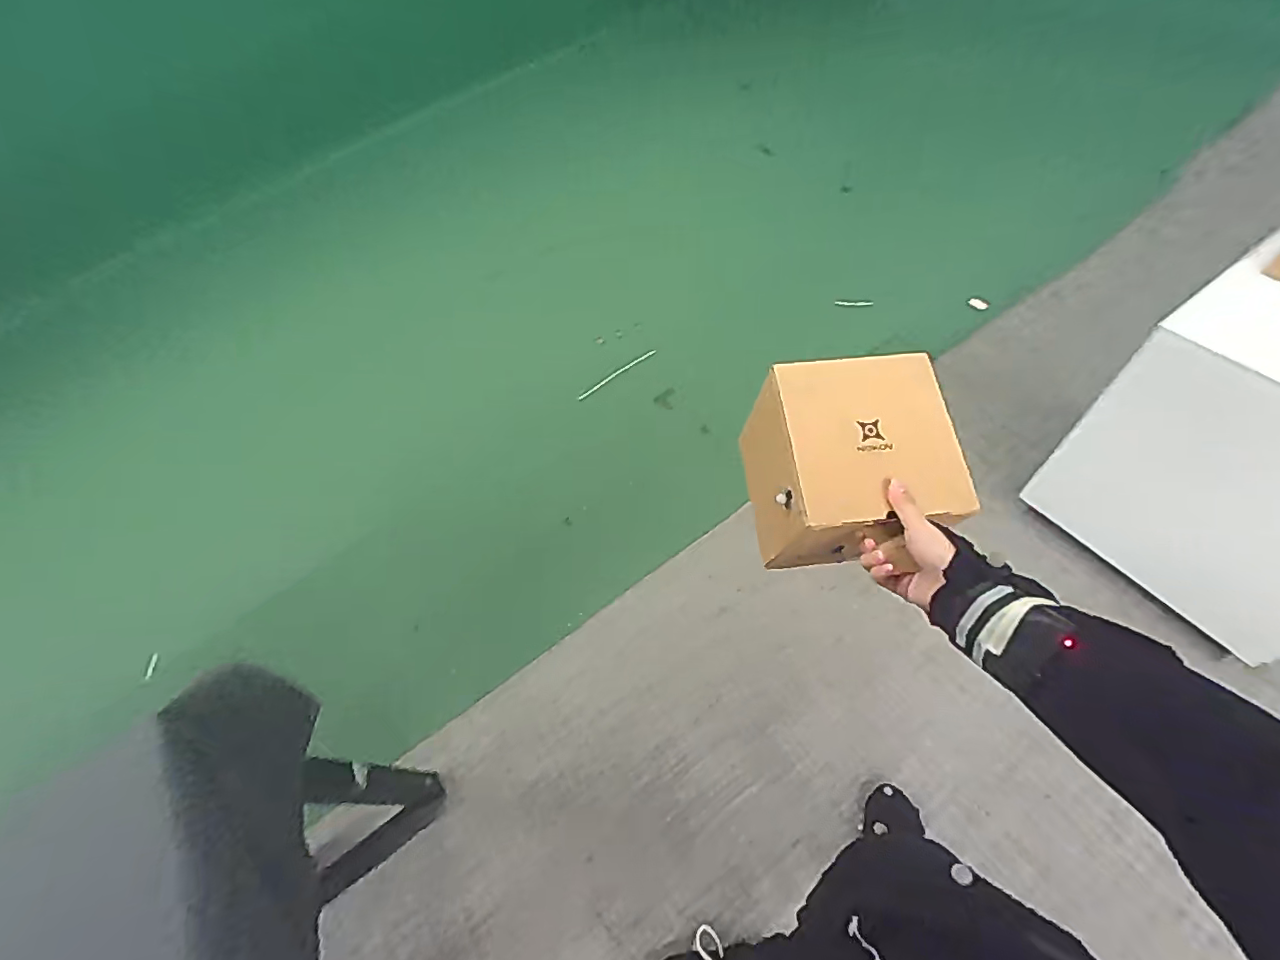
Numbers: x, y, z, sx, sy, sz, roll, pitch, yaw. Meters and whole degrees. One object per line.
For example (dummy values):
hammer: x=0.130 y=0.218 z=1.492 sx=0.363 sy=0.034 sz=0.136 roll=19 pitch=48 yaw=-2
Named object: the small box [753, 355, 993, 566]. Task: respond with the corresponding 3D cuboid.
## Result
small box: x=0.232 y=-0.014 z=0.594 sx=0.168 sy=0.176 sz=0.179 roll=-4 pitch=69 yaw=-4
